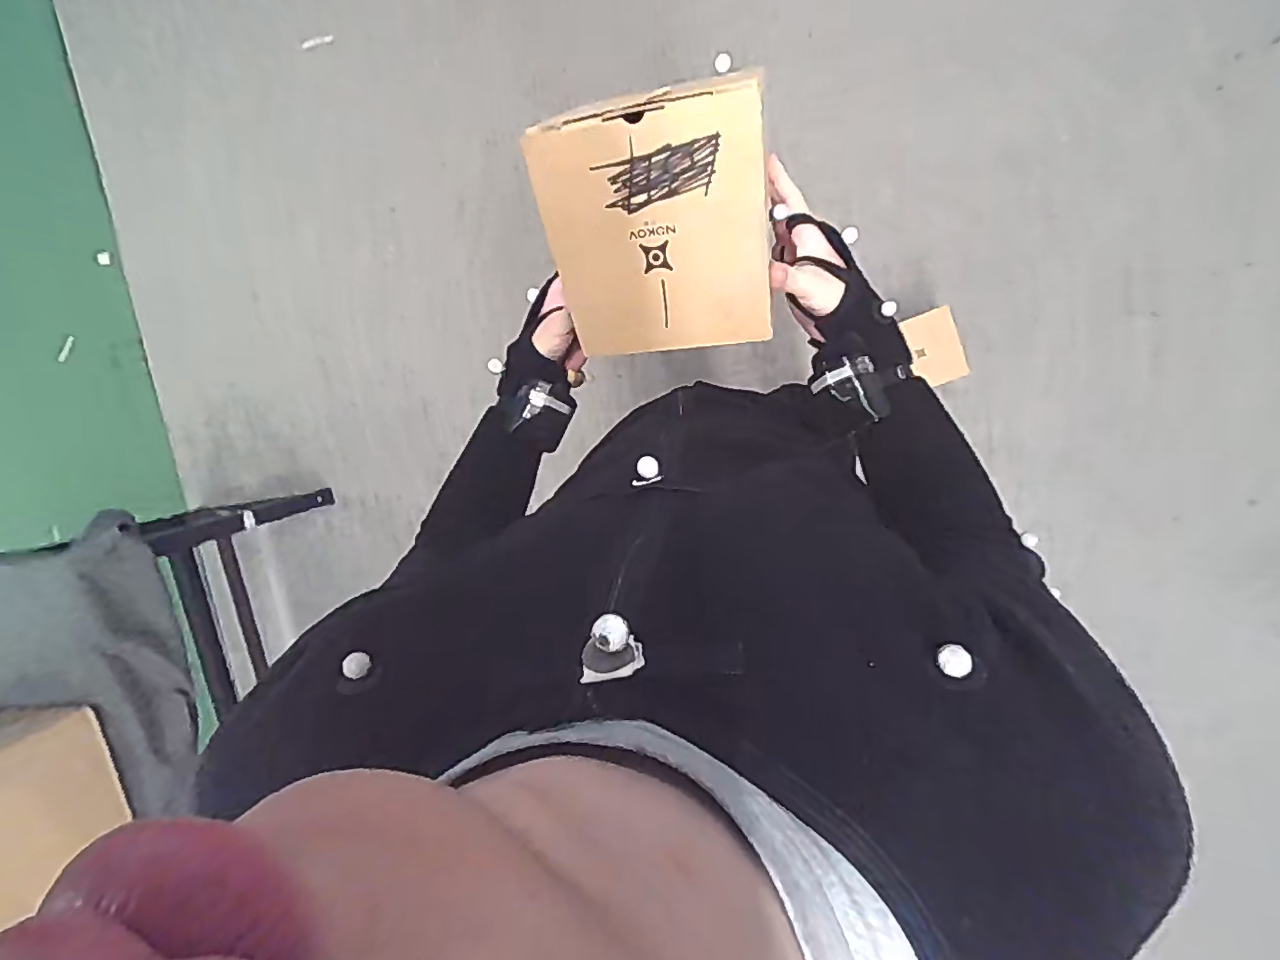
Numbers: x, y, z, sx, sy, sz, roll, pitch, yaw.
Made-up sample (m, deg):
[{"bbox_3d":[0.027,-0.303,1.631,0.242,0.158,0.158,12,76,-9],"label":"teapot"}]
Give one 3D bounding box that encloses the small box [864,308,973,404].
[{"bbox_3d":[0.652,-0.291,1.293,0.179,0.176,0.168,-20,97,14],"label":"small box"}]
